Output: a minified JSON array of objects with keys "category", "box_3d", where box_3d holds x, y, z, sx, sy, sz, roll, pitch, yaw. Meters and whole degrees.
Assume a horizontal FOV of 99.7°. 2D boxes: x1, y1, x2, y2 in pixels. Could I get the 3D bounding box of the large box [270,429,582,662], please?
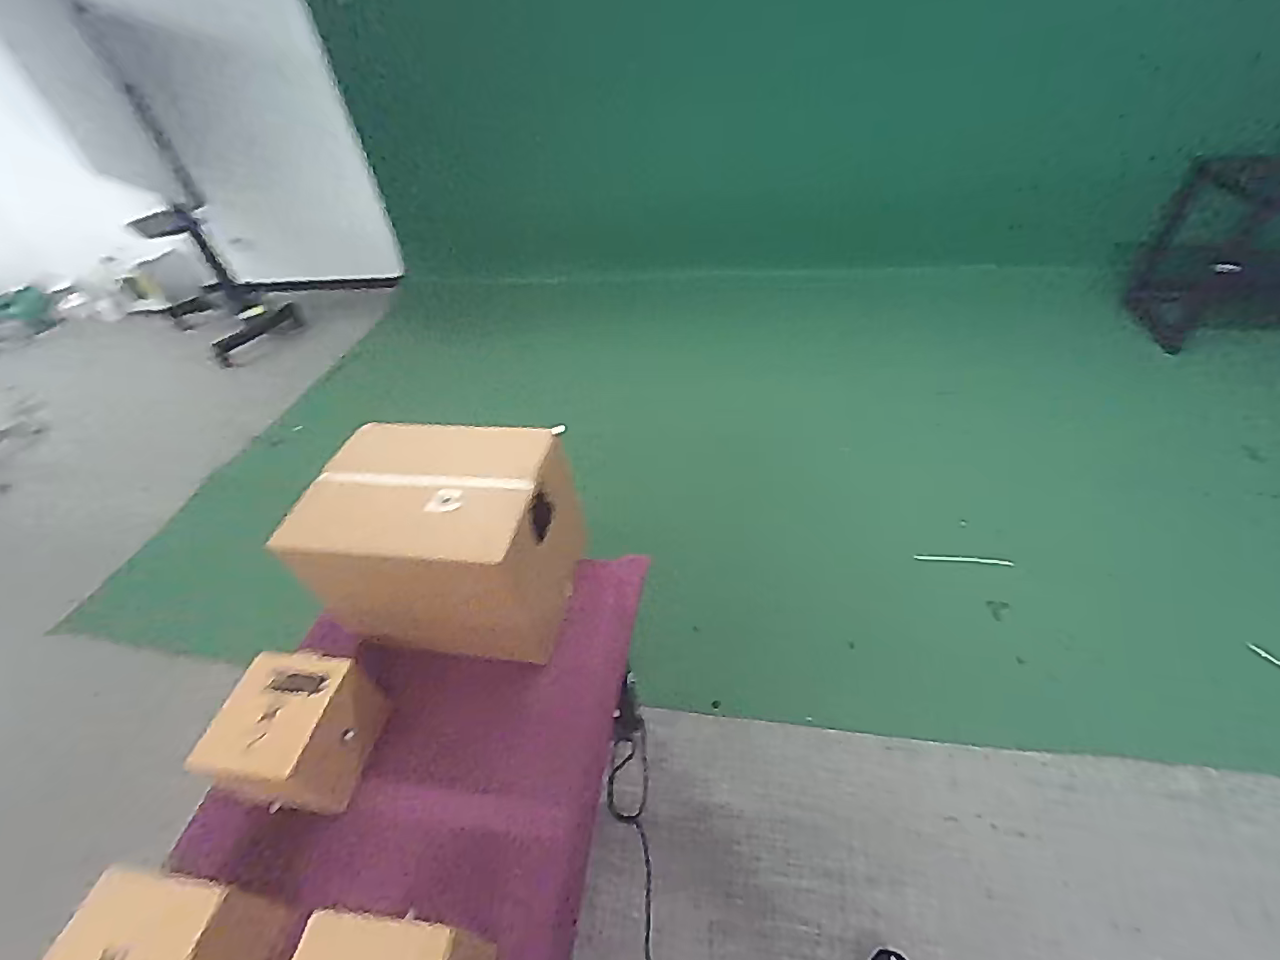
[{"category":"large box","box_3d":[-0.357,0.119,1.025,0.408,0.320,0.320,3,46,10]}]
